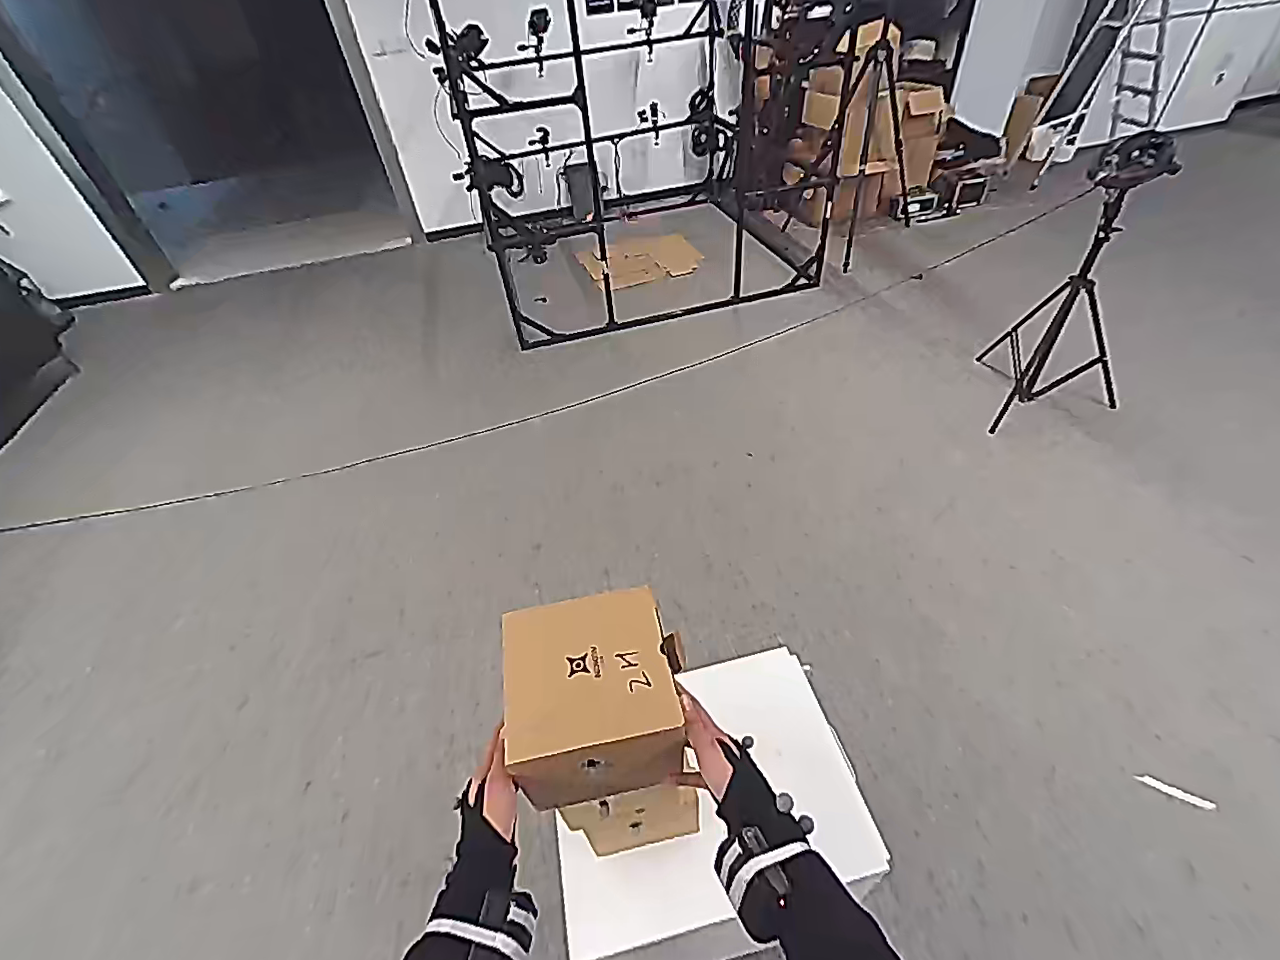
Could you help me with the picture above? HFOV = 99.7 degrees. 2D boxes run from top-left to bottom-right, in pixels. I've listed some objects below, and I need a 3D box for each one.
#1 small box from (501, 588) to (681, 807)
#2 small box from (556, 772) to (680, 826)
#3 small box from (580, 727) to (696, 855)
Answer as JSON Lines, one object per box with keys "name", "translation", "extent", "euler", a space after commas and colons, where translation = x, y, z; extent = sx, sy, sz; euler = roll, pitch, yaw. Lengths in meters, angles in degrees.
{"name": "small box", "translation": [-0.053, 0.252, 0.622], "extent": [0.179, 0.176, 0.168], "euler": [-9, 46, -6]}
{"name": "small box", "translation": [-0.040, 0.375, 0.780], "extent": [0.168, 0.176, 0.179], "euler": [-10, 42, -4]}
{"name": "small box", "translation": [-0.009, 0.489, 0.892], "extent": [0.179, 0.176, 0.168], "euler": [-10, 43, -6]}
